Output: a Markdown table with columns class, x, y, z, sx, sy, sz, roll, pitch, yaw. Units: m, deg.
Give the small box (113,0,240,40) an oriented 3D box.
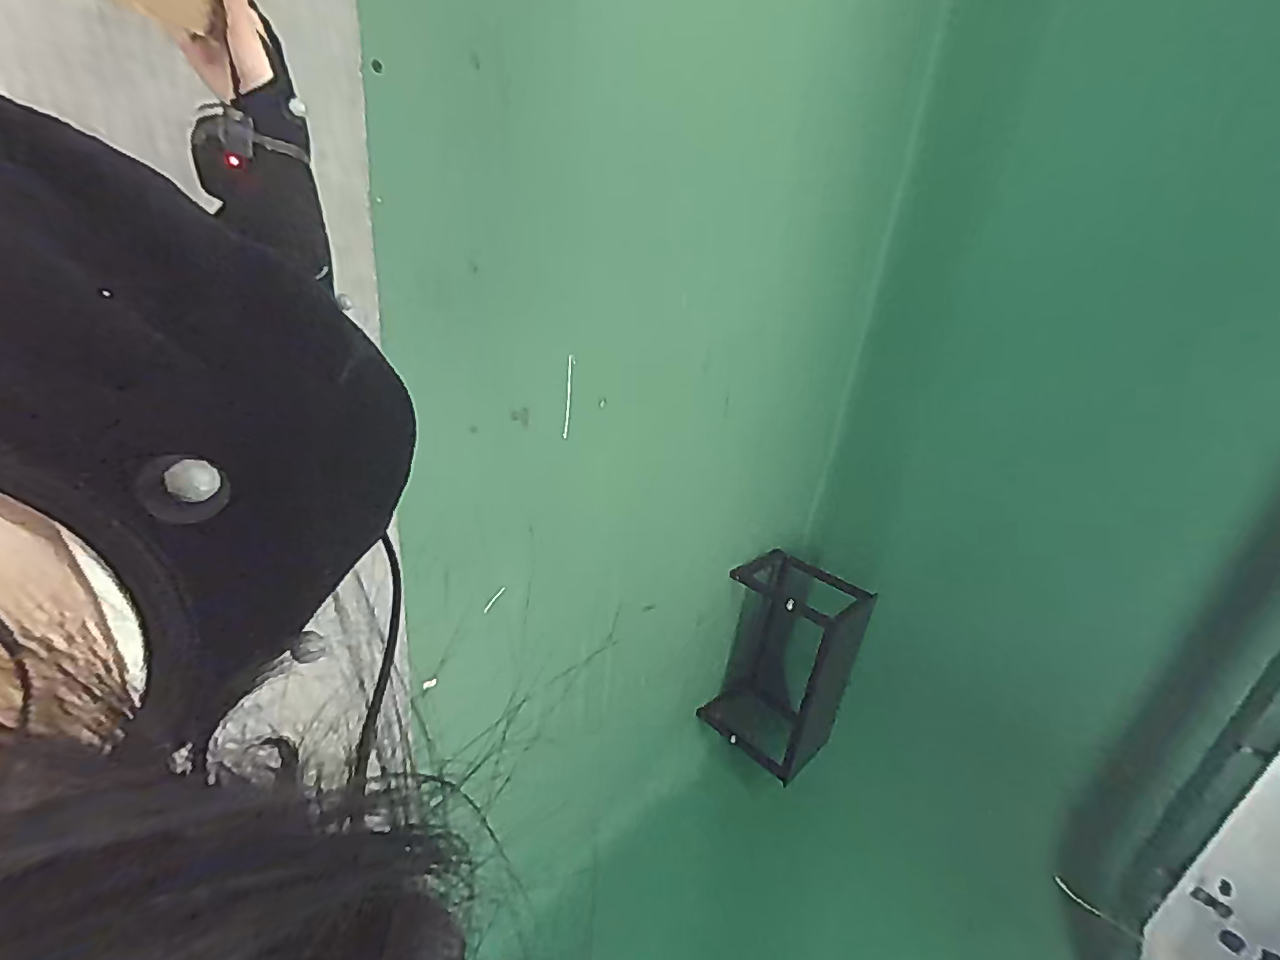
| class | x | y | z | sx | sy | sz | roll | pitch | yaw |
| --- | --- | --- | --- | --- | --- | --- | --- | --- | --- |
| small box | -0.363 | -0.452 | 0.346 | 0.179 | 0.168 | 0.176 | -38 | 111 | 17 |
